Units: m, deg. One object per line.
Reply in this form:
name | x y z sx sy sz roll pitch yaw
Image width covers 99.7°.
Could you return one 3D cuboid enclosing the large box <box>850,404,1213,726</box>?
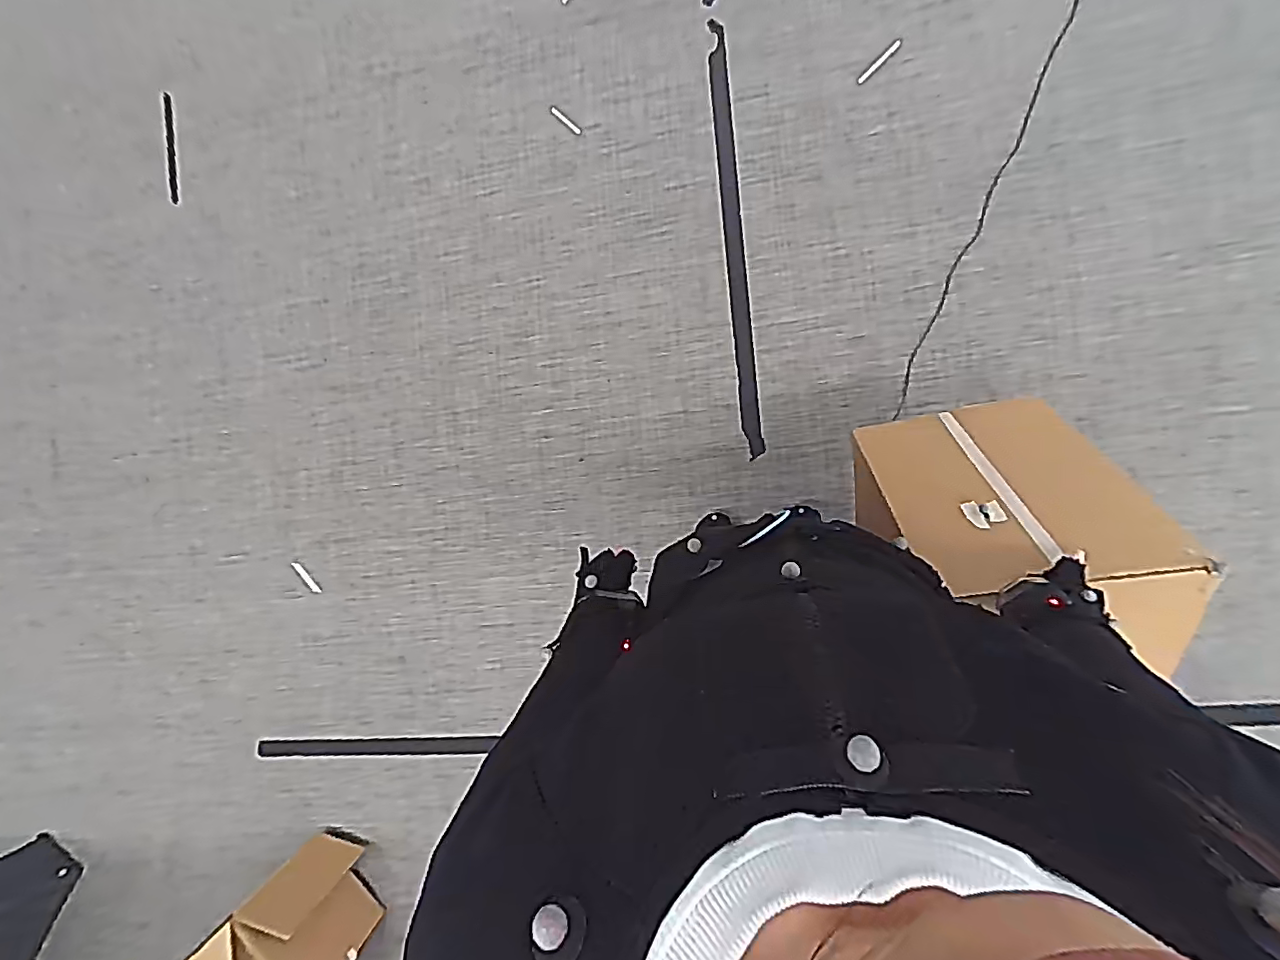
large box | 0.558 0.129 0.890 0.320 0.408 0.320 -11 126 12
